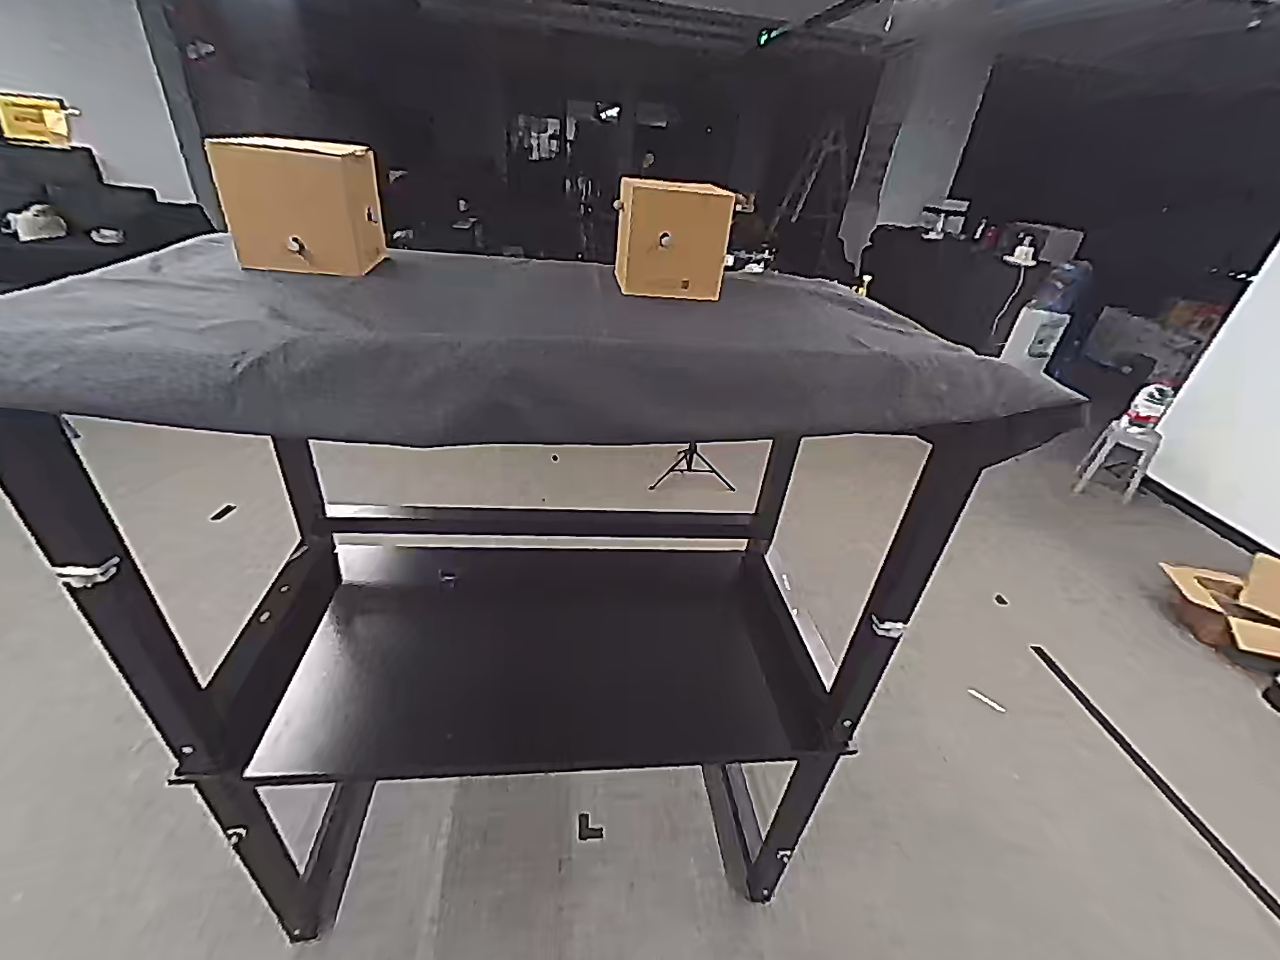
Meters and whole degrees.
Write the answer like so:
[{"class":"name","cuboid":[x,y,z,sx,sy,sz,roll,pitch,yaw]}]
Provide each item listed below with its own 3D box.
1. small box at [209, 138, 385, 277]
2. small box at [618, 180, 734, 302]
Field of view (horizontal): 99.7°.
[{"class":"small box","cuboid":[-0.516,-0.425,0.849,0.179,0.176,0.168,1,32,-11]},{"class":"small box","cuboid":[0.053,-0.417,0.944,0.168,0.176,0.179,1,32,-9]}]
